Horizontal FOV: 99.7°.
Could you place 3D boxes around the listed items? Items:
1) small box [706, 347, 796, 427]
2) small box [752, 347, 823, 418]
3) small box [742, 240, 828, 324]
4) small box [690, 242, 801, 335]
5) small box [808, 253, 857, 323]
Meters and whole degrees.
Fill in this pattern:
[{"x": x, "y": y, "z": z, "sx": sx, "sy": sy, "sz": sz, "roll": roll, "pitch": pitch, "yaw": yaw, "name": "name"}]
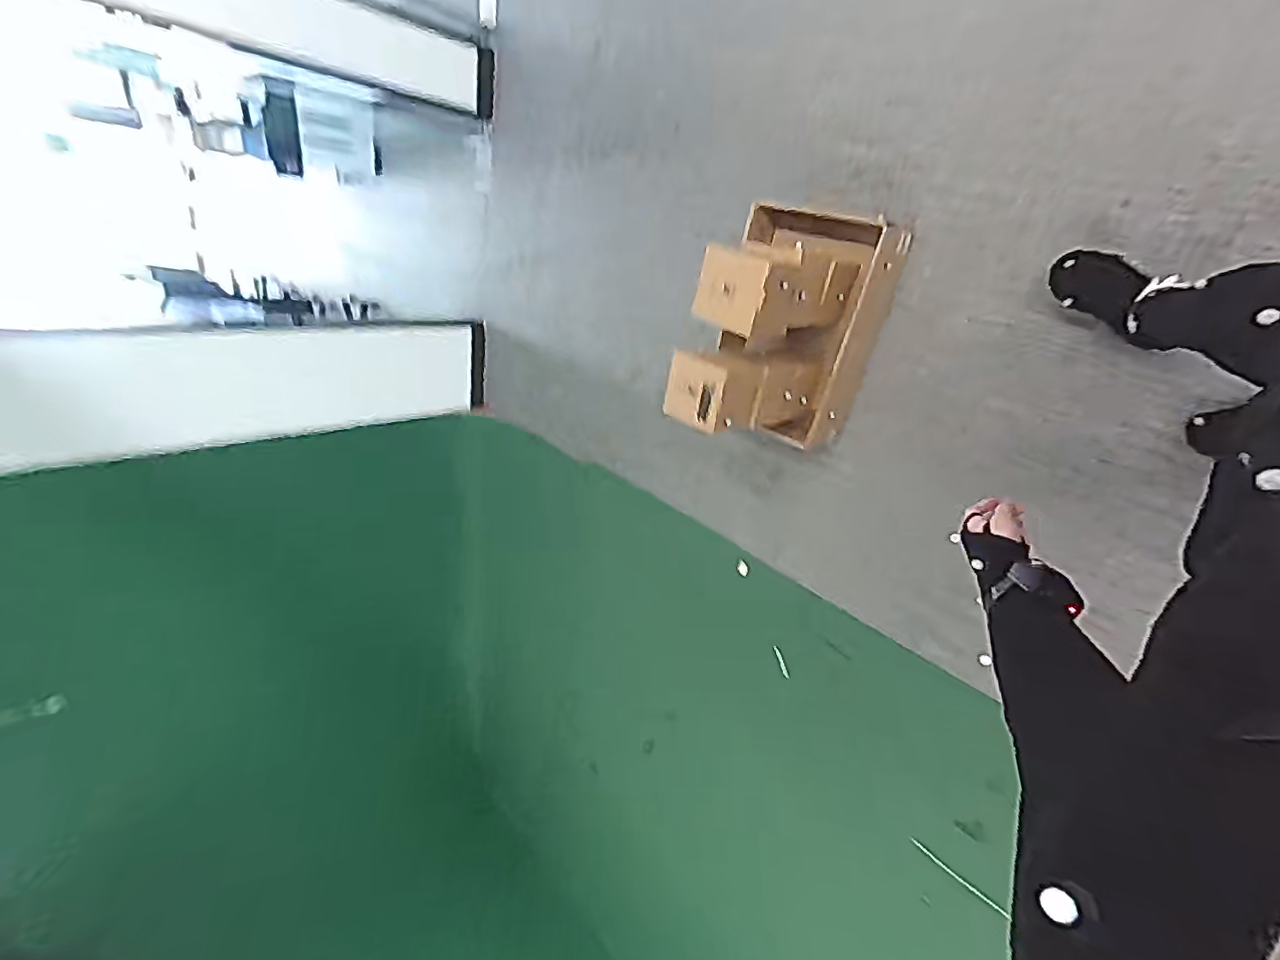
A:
[{"x": 0.314, "y": -0.266, "z": 1.514, "sx": 0.168, "sy": 0.176, "sz": 0.179, "roll": 30, "pitch": 120, "yaw": 36, "name": "small box"}, {"x": 0.424, "y": -0.302, "z": 1.633, "sx": 0.179, "sy": 0.176, "sz": 0.168, "roll": 29, "pitch": 120, "yaw": 34, "name": "small box"}, {"x": 0.360, "y": -0.509, "z": 1.393, "sx": 0.168, "sy": 0.176, "sz": 0.179, "roll": 27, "pitch": 120, "yaw": 35, "name": "small box"}, {"x": 0.252, "y": -0.454, "z": 1.283, "sx": 0.179, "sy": 0.176, "sz": 0.168, "roll": 33, "pitch": 123, "yaw": 33, "name": "small box"}, {"x": 0.473, "y": -0.547, "z": 1.508, "sx": 0.179, "sy": 0.176, "sz": 0.168, "roll": 32, "pitch": 124, "yaw": 34, "name": "small box"}]
